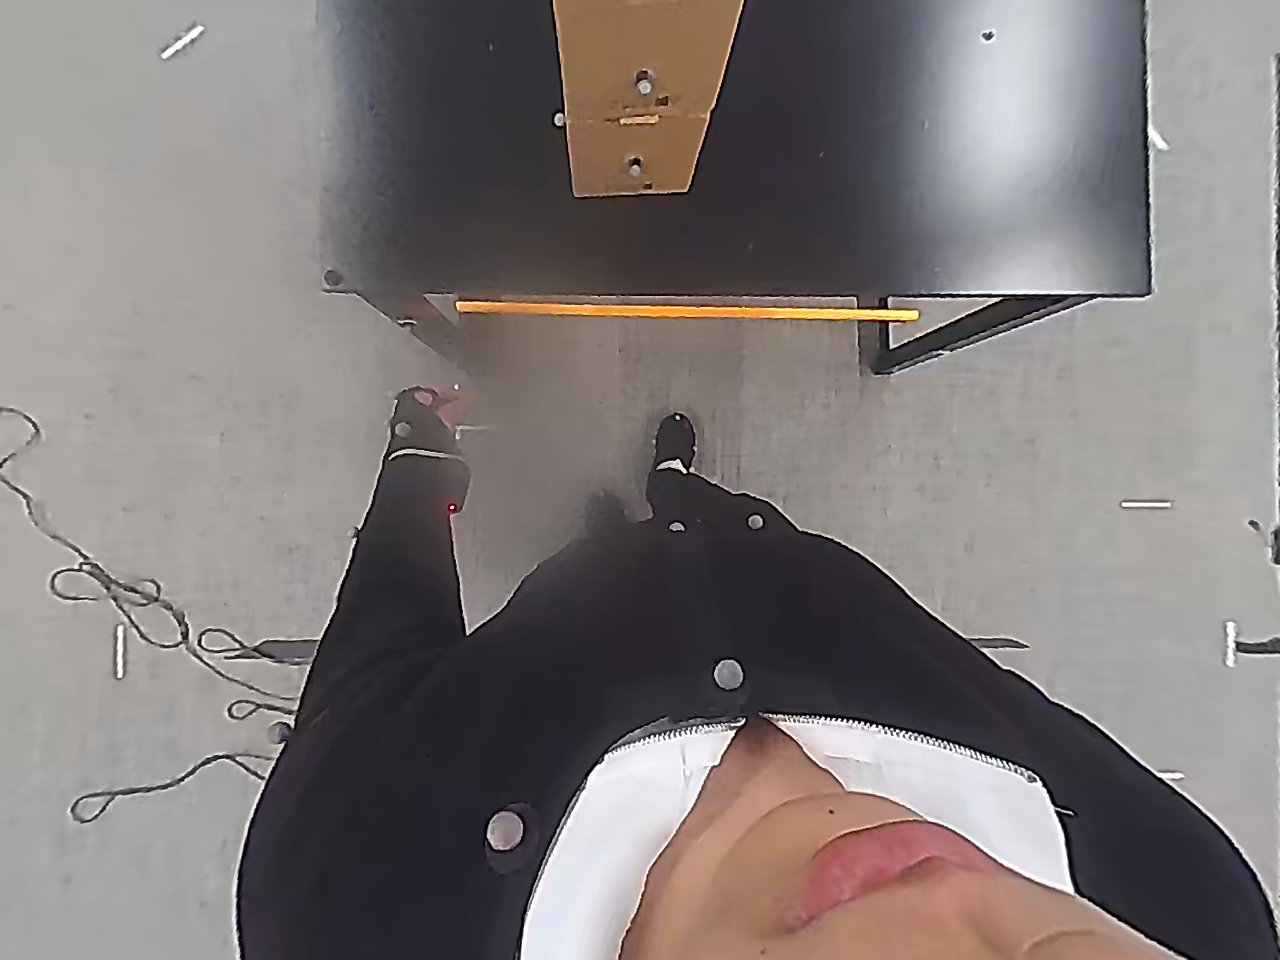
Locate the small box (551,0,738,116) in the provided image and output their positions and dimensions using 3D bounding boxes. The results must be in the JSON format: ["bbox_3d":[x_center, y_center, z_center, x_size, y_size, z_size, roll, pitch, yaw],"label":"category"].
[{"bbox_3d":[-0.006,-0.498,0.525,0.168,0.176,0.179,-6,90,-3],"label":"small box"}]

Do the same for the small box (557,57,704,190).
[{"bbox_3d":[-0.016,-0.493,0.691,0.168,0.176,0.179,-5,90,-3],"label":"small box"}]
